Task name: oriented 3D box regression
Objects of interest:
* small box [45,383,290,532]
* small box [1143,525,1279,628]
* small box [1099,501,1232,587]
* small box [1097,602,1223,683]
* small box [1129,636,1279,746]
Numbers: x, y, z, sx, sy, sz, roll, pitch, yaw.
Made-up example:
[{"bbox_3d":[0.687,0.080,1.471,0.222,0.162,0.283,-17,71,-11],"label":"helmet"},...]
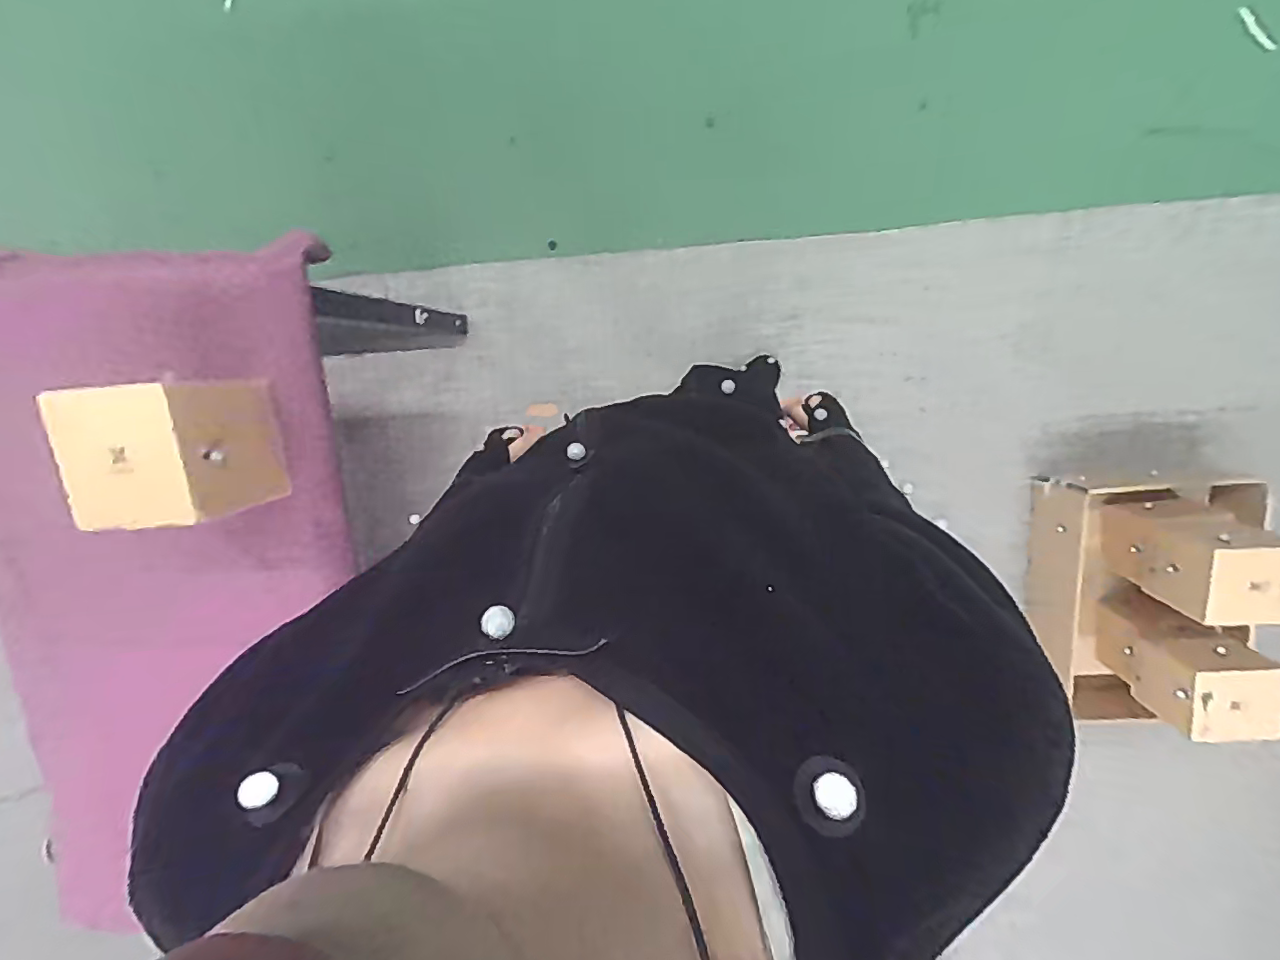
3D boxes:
[{"bbox_3d":[-0.624,-0.040,0.740,0.168,0.176,0.179,-4,103,5],"label":"small box"},{"bbox_3d":[1.229,0.199,1.147,0.179,0.176,0.168,-4,102,8],"label":"small box"},{"bbox_3d":[1.254,0.155,1.303,0.168,0.176,0.179,-8,102,8],"label":"small box"},{"bbox_3d":[1.289,0.418,1.353,0.168,0.176,0.179,-9,102,9],"label":"small box"},{"bbox_3d":[1.249,0.460,1.199,0.179,0.176,0.168,-5,101,7],"label":"small box"}]
